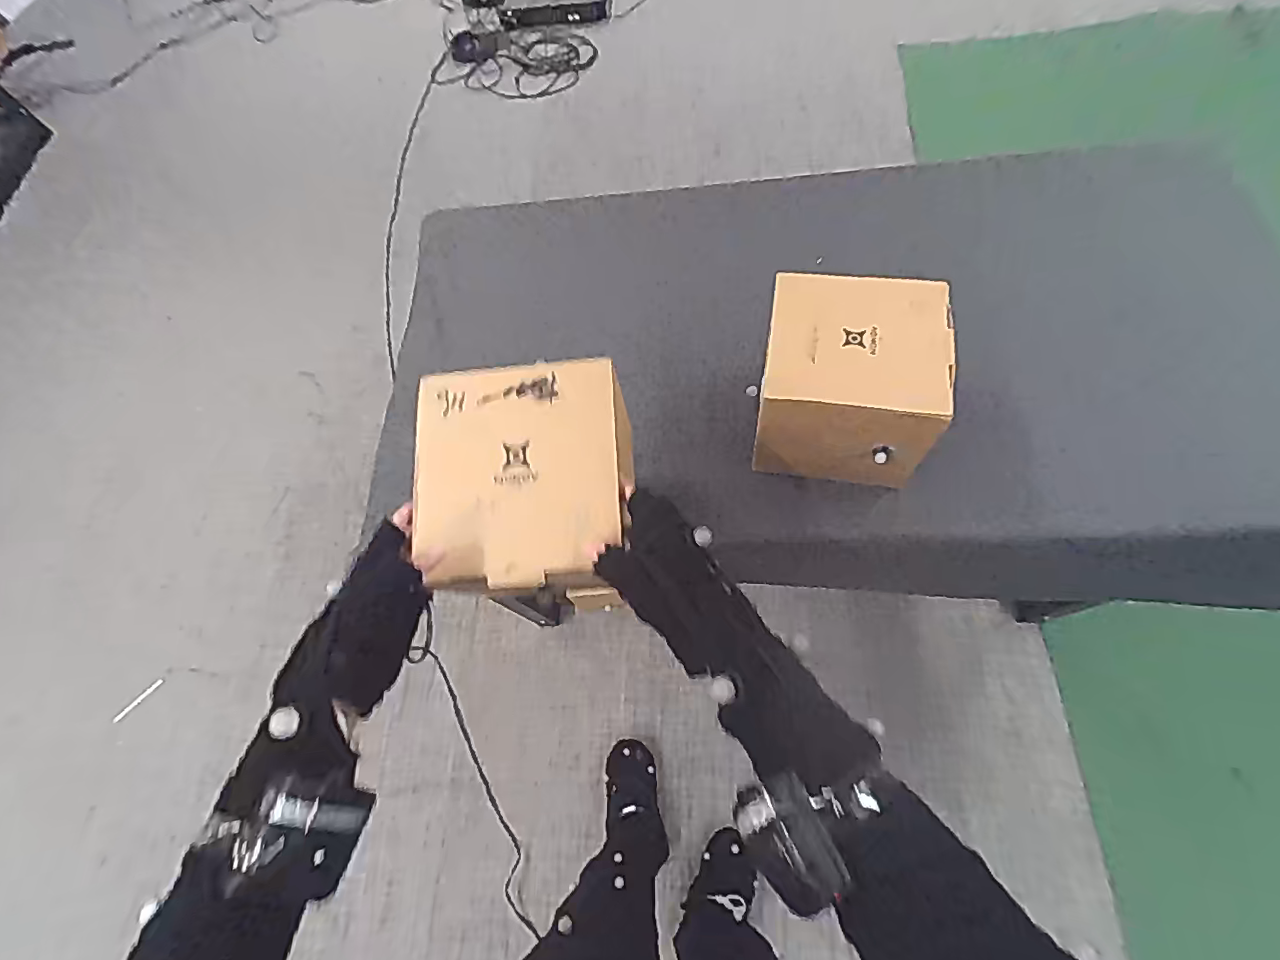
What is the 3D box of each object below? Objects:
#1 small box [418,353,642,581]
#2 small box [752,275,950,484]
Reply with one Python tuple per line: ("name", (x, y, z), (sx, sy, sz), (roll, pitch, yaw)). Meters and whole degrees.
("small box", (-0.089, 0.002, 0.513), (0.168, 0.176, 0.179), (-5, 75, 4))
("small box", (0.231, -0.107, 0.624), (0.179, 0.176, 0.168), (8, 67, 11))
